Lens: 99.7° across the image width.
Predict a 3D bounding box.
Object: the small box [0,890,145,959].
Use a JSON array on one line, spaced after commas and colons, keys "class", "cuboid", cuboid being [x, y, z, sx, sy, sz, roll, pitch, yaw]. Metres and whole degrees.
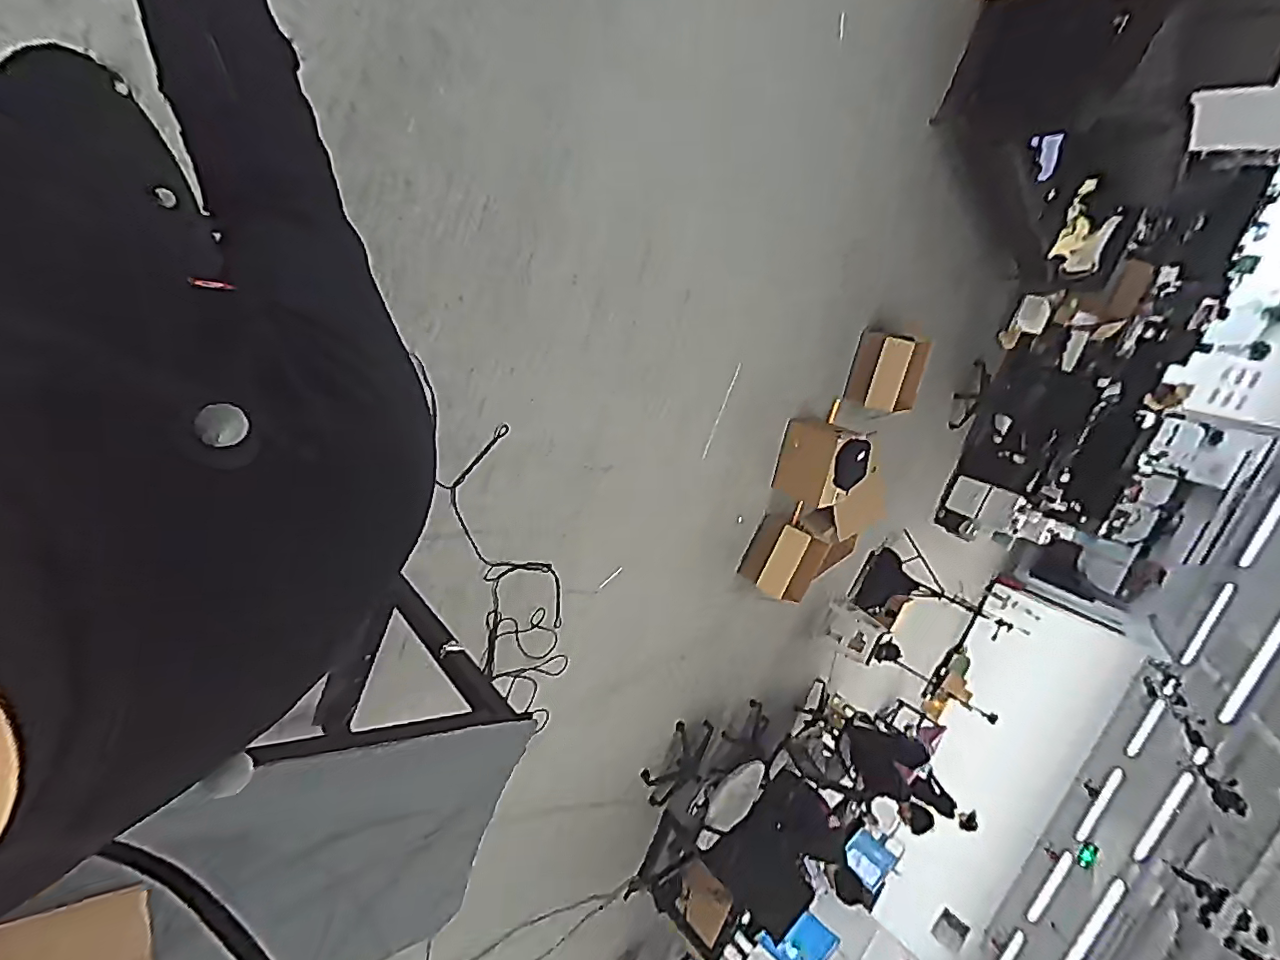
[{"class": "small box", "cuboid": [-0.731, 0.652, 0.652, 0.179, 0.176, 0.168, 17, 99, -49]}]
